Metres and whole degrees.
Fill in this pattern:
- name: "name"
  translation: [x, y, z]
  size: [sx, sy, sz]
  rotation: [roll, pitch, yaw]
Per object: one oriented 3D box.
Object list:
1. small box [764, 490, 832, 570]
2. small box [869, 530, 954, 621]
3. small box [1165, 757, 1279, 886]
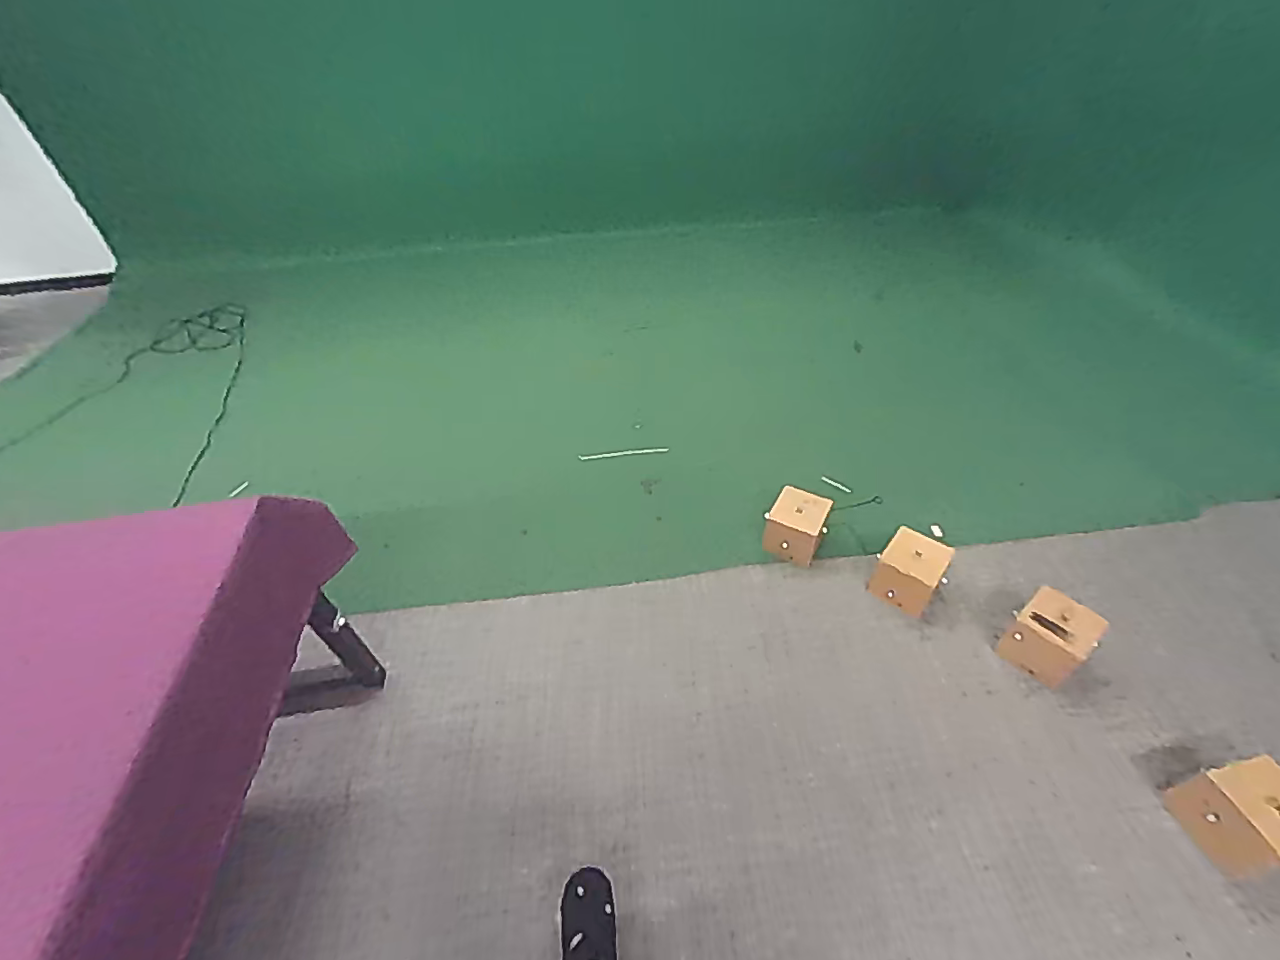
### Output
- name: "small box"
  translation: [0.527, 0.171, 1.823]
  size: [0.168, 0.176, 0.179]
  rotation: [21, 48, 24]
- name: "small box"
  translation: [0.833, 0.296, 1.672]
  size: [0.168, 0.176, 0.179]
  rotation: [29, 53, 30]
- name: "small box"
  translation: [1.314, 0.735, 1.165]
  size: [0.168, 0.176, 0.179]
  rotation: [-11, 43, -7]
